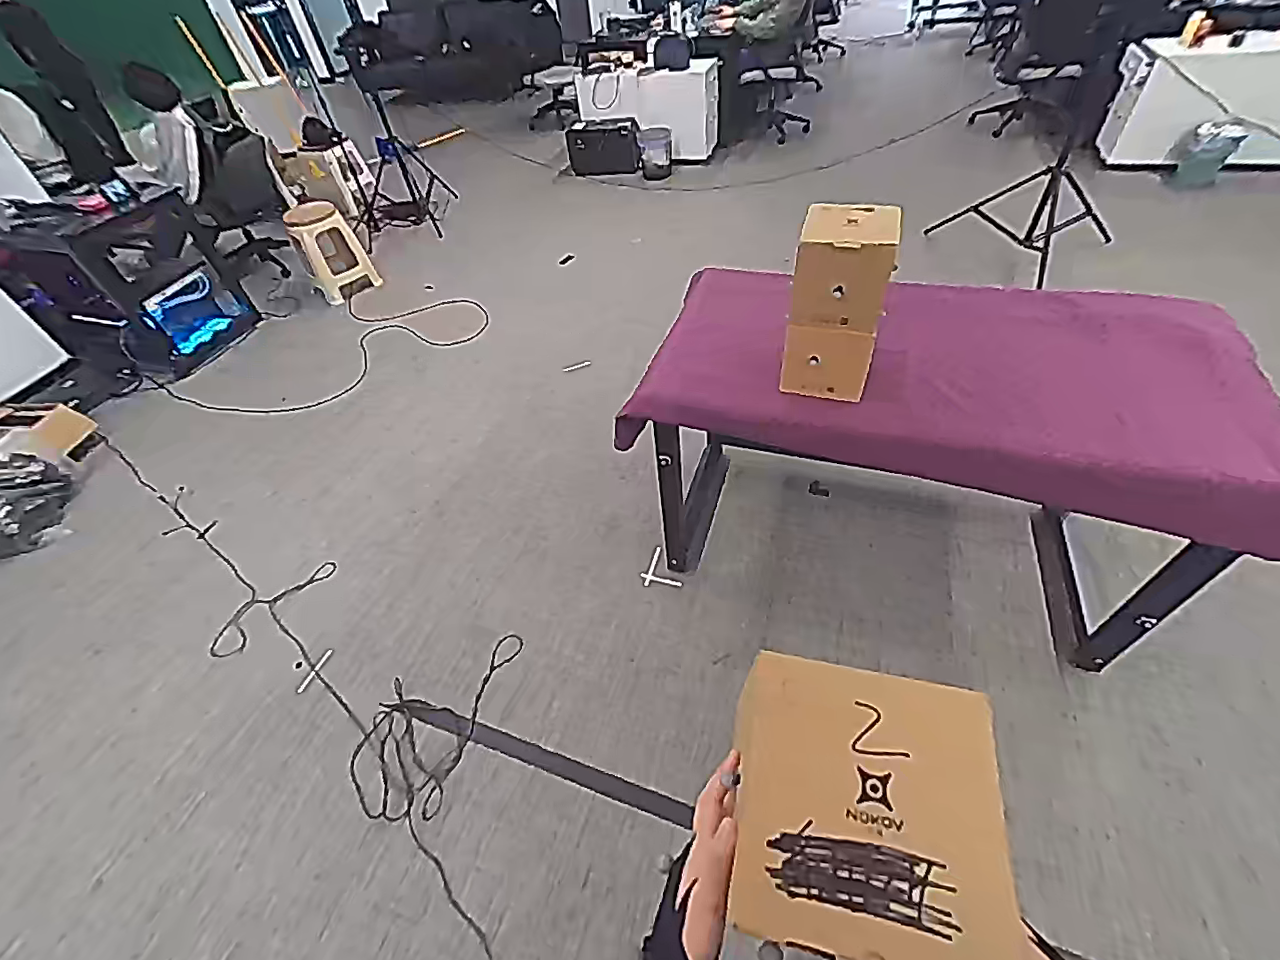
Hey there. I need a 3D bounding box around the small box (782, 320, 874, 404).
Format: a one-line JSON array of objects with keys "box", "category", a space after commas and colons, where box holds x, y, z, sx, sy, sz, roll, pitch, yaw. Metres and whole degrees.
[{"box": [0.404, -0.284, 1.158, 0.168, 0.176, 0.179, 12, 49, 18], "category": "small box"}]

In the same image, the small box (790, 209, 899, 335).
[{"box": [0.389, -0.400, 1.043, 0.168, 0.176, 0.179, 11, 49, 17], "category": "small box"}]
